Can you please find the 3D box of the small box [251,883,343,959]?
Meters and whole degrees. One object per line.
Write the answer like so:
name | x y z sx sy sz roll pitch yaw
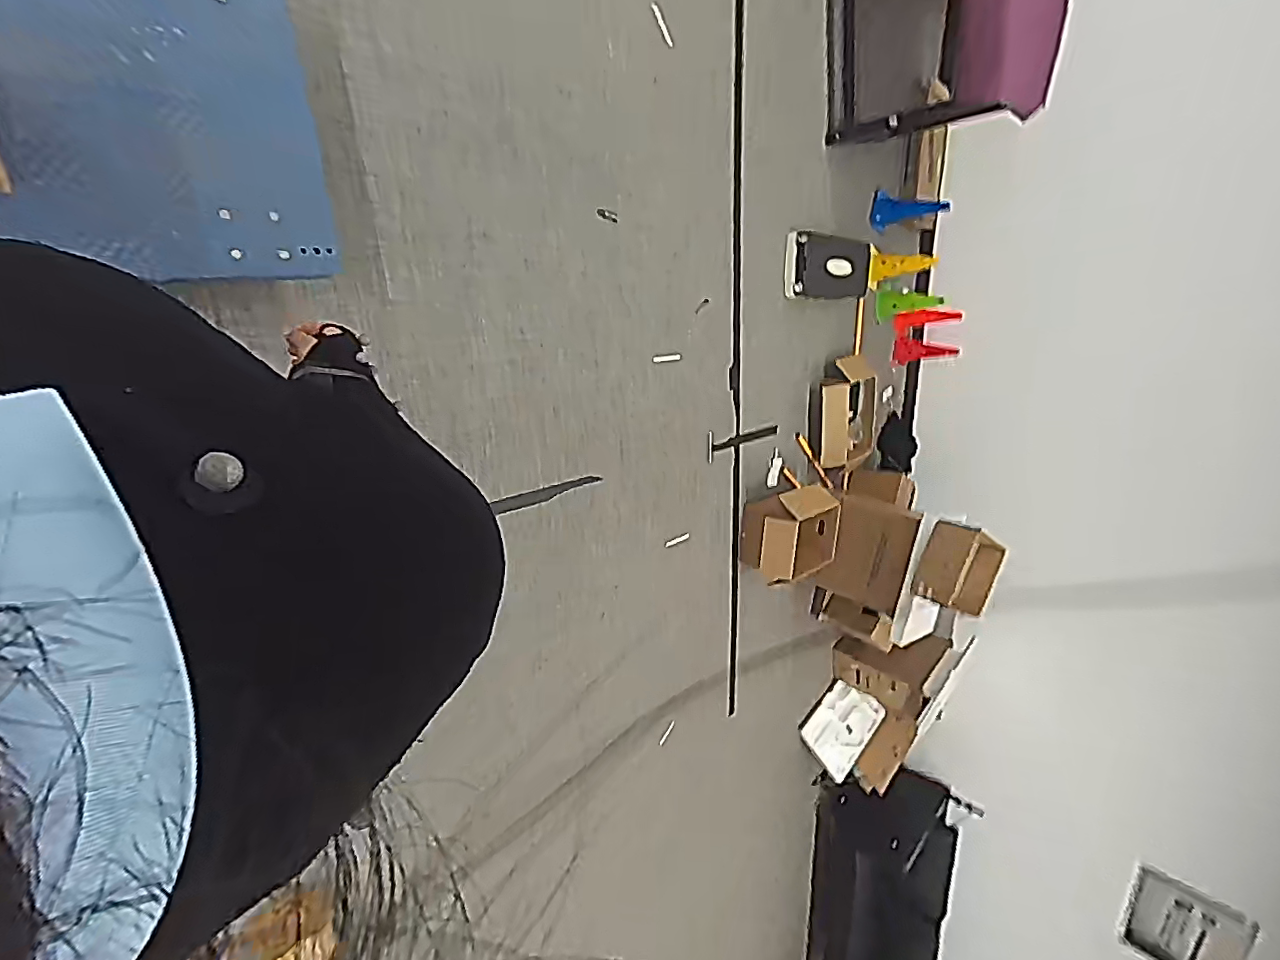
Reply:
small box | -0.949 1.283 1.496 0.168 0.176 0.179 -20 115 -40
